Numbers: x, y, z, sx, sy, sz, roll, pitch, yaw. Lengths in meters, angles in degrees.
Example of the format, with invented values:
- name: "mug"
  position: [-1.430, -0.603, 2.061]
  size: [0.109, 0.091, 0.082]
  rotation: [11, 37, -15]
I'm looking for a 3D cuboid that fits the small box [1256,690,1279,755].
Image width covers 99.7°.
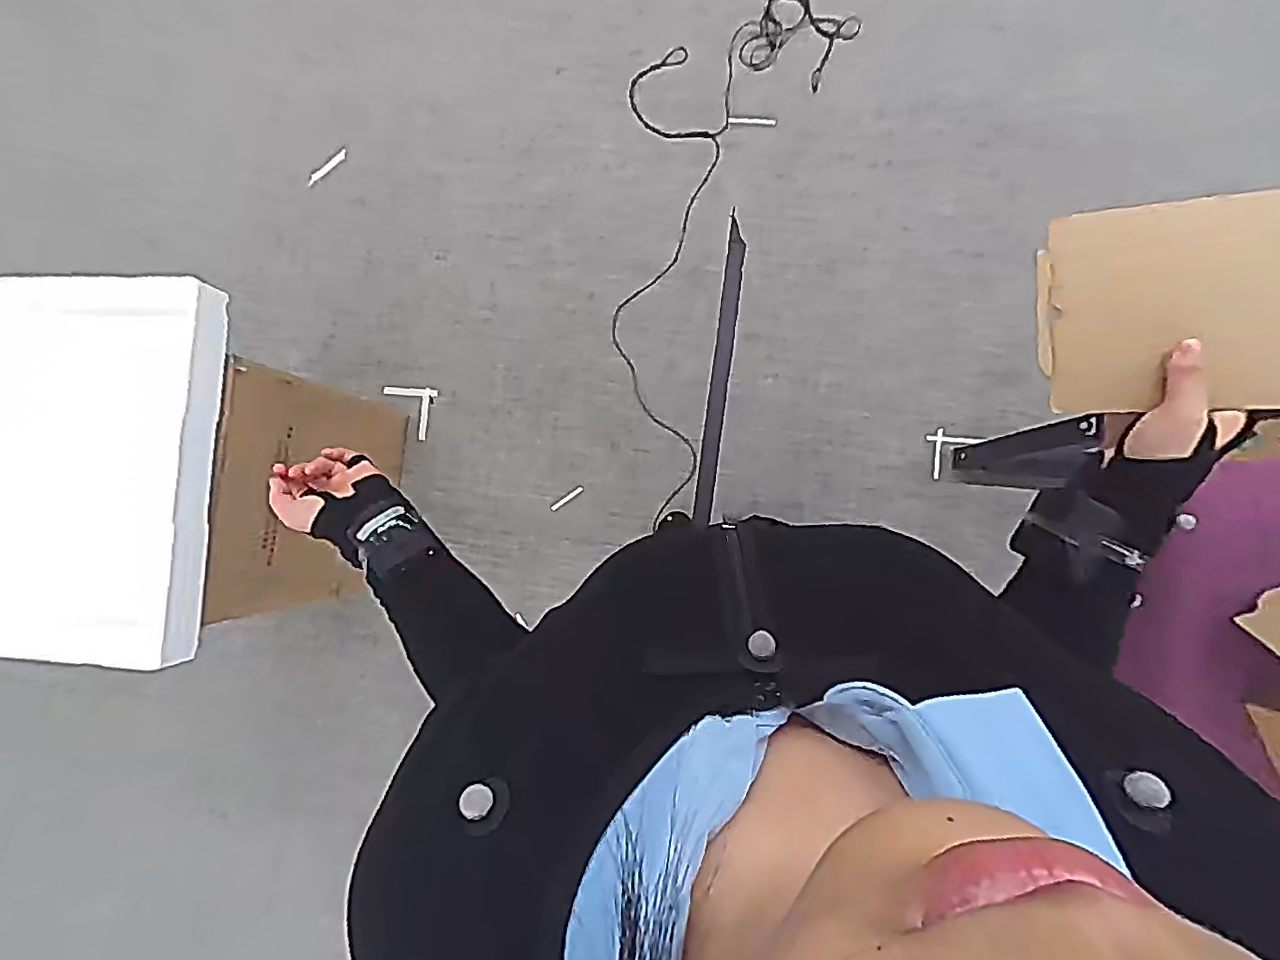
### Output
- name: "small box"
  position: [0.862, 0.320, 0.590]
  size: [0.168, 0.176, 0.179]
  rotation: [-21, 84, 4]
